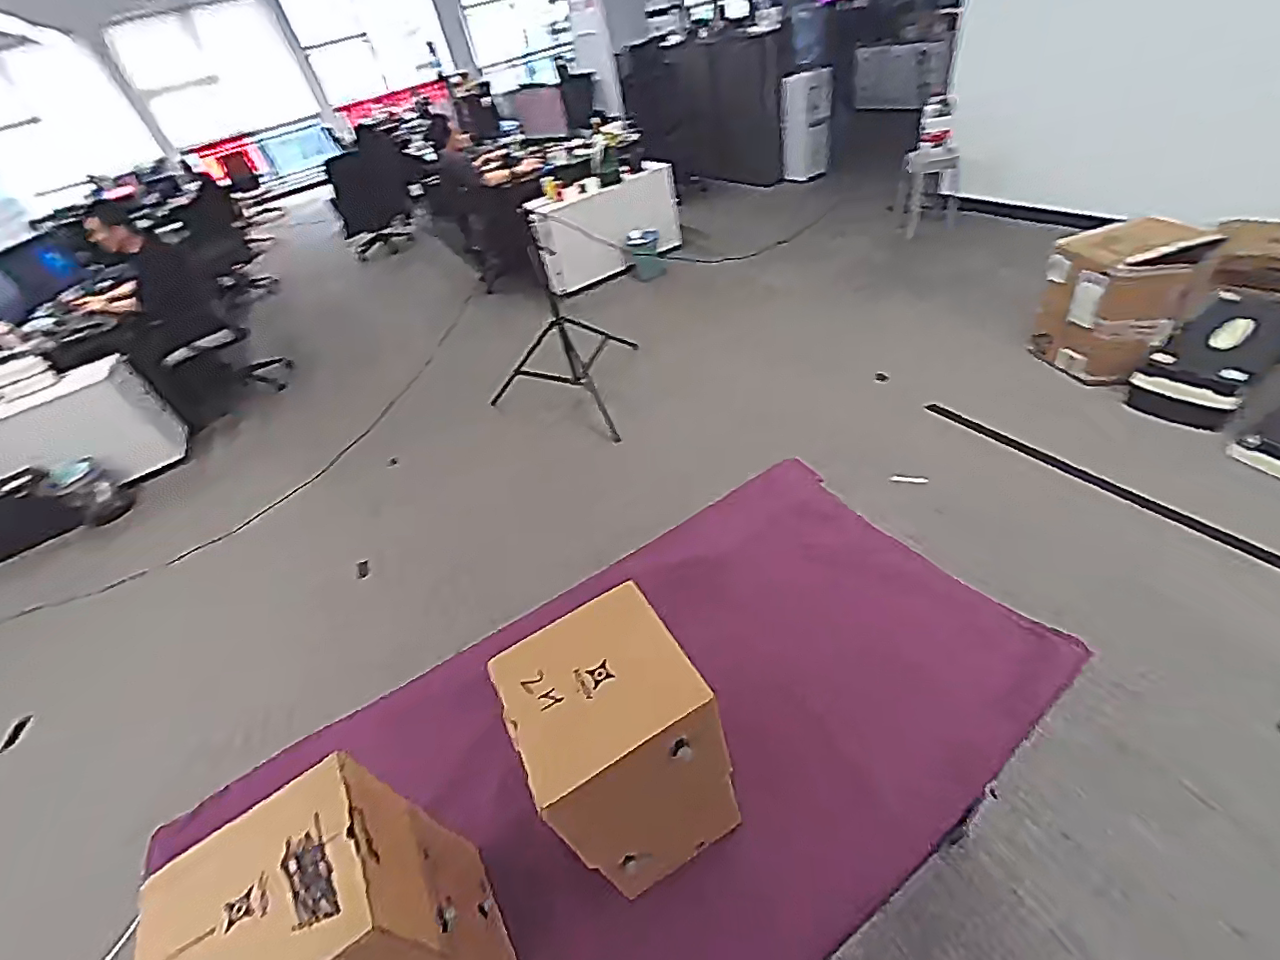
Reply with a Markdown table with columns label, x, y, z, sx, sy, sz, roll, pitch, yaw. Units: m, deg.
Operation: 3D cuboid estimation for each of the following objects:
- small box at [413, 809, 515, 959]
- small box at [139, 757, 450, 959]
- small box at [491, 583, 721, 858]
| label | x | y | z | sx | sy | sz | roll | pitch | yaw |
| --- | --- | --- | --- | --- | --- | --- | --- | --- | --- |
| small box | -0.265 | 0.520 | 0.596 | 0.179 | 0.176 | 0.168 | -31 | 43 | -19 |
| small box | -0.293 | 0.400 | 0.487 | 0.179 | 0.176 | 0.168 | -32 | 43 | -18 |
| small box | -0.028 | 0.250 | 0.571 | 0.179 | 0.176 | 0.168 | -28 | 41 | -14 |
